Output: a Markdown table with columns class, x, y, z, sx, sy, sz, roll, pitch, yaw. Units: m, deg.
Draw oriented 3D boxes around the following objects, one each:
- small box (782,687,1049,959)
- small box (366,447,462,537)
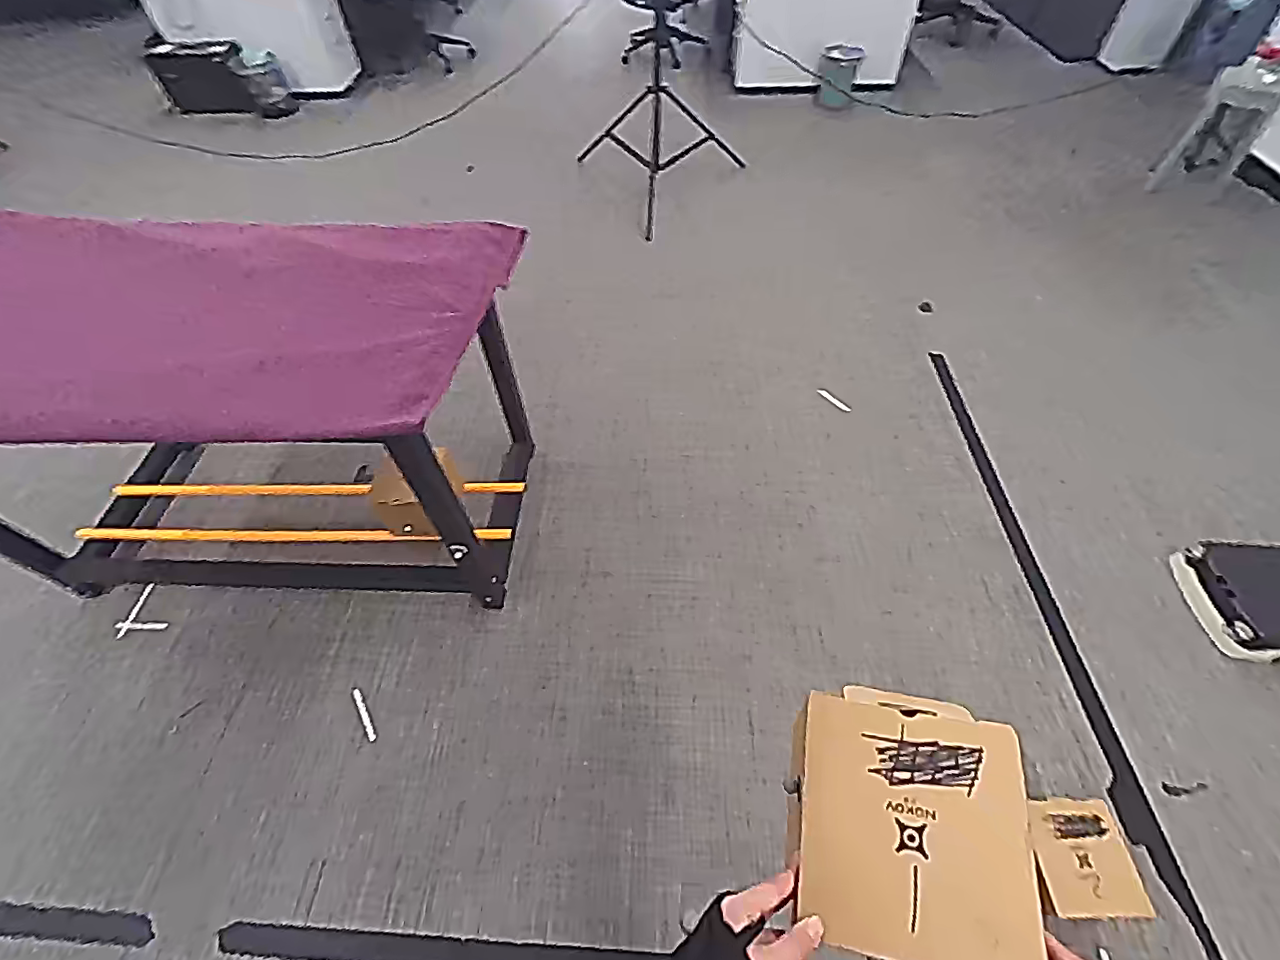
| class | x | y | z | sx | sy | sz | roll | pitch | yaw |
| --- | --- | --- | --- | --- | --- | --- | --- | --- | --- |
| small box | 0.217 | 0.304 | 0.477 | 0.168 | 0.176 | 0.179 | 5 | 58 | 14 |
| small box | -0.584 | 0.032 | 1.427 | 0.168 | 0.176 | 0.179 | 0 | 55 | 3 |
